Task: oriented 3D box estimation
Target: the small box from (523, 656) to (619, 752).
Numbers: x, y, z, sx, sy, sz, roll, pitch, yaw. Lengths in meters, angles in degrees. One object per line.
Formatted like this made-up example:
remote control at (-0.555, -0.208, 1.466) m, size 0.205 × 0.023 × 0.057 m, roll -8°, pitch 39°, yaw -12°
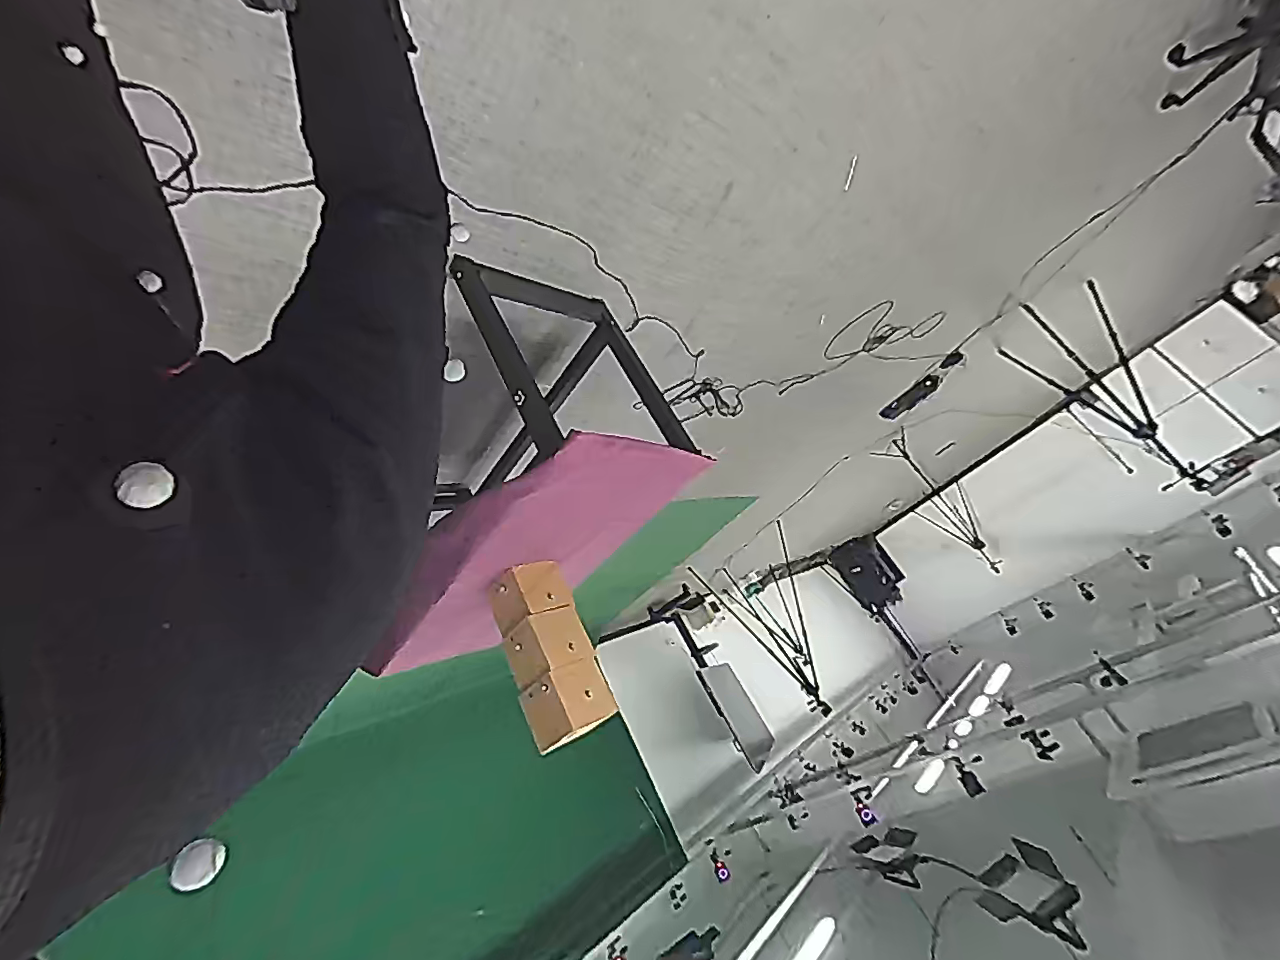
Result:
small box at (-0.199, 0.621, 1.515) m, size 0.179 × 0.176 × 0.168 m, roll 0°, pitch 142°, yaw -51°

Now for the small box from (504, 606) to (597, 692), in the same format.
small box at (-0.266, 0.488, 1.585) m, size 0.179 × 0.176 × 0.168 m, roll 1°, pitch 141°, yaw -50°

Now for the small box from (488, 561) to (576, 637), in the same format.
small box at (-0.334, 0.361, 1.664) m, size 0.179 × 0.176 × 0.168 m, roll 3°, pitch 140°, yaw -51°
